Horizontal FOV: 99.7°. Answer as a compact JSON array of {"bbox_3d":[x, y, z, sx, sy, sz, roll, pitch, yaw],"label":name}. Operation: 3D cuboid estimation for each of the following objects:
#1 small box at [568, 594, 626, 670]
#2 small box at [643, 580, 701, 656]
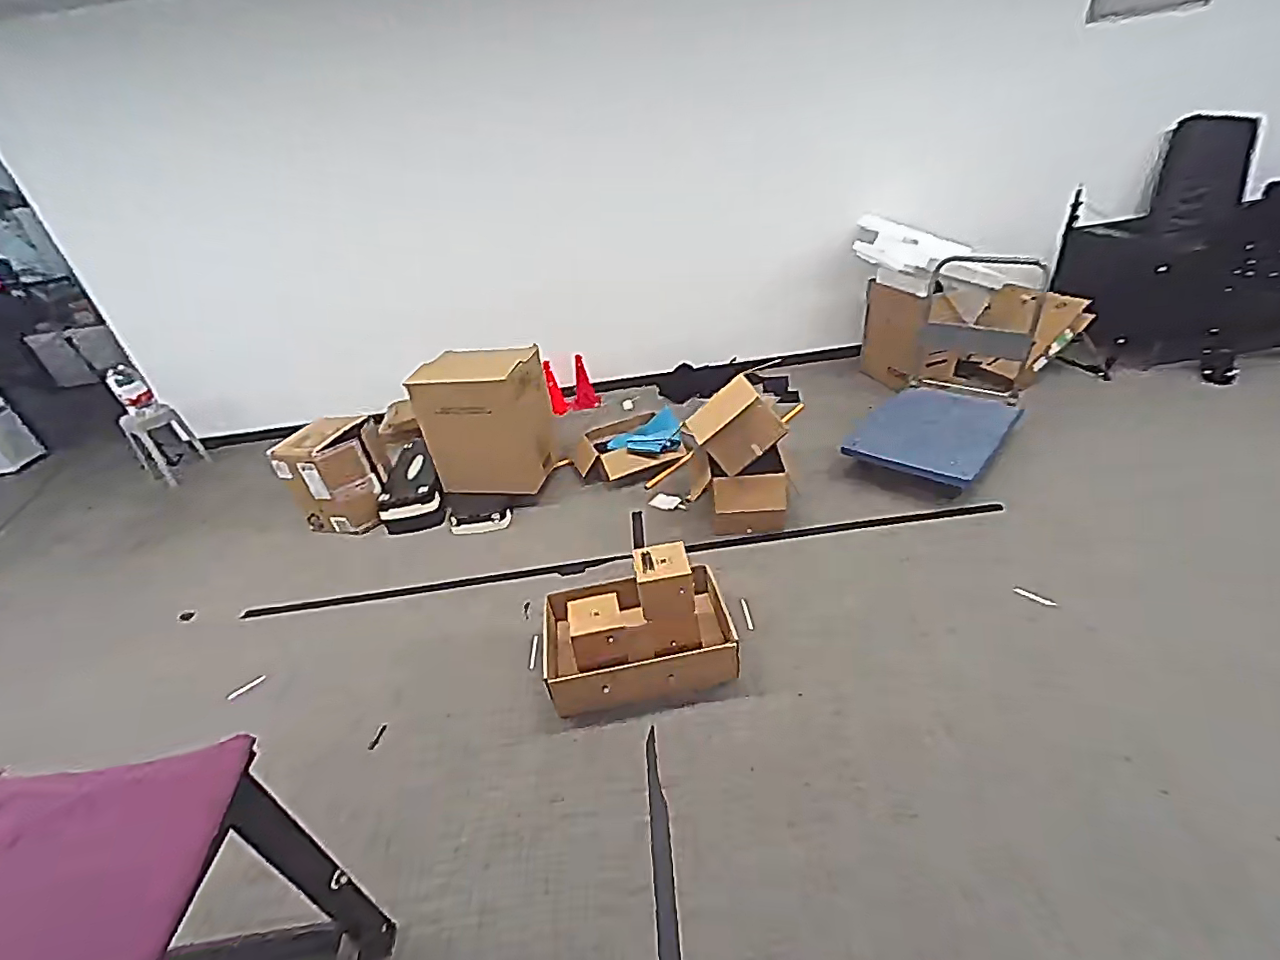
[{"bbox_3d":[-0.145,0.522,1.858,0.179,0.176,0.168,-10,31,-6],"label":"small box"},{"bbox_3d":[0.111,0.477,1.875,0.168,0.176,0.179,-11,32,-3],"label":"small box"}]
